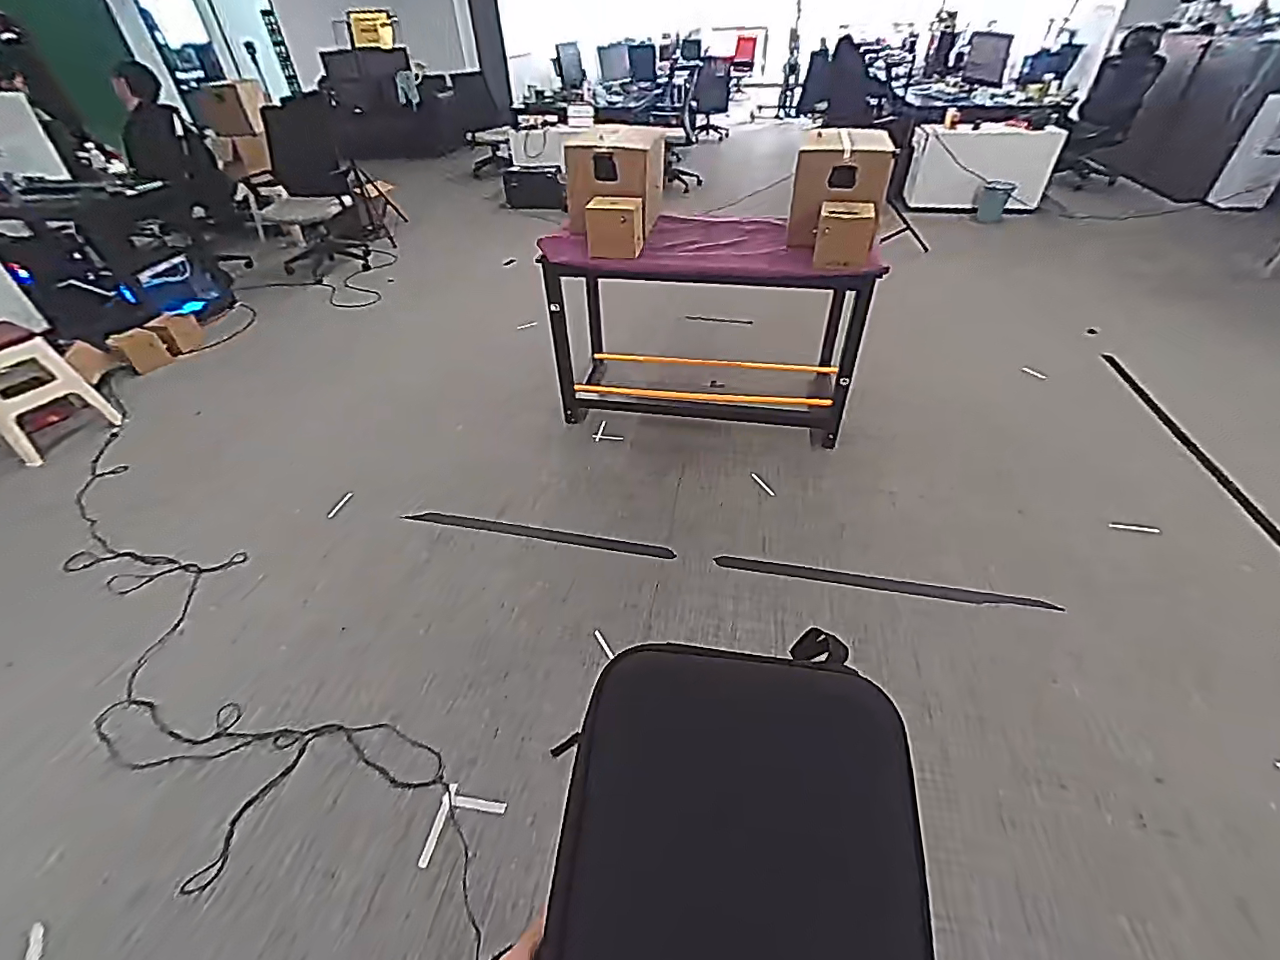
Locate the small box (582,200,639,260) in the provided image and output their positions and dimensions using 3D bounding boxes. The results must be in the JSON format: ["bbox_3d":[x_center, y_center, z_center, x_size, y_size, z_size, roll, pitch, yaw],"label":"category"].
[{"bbox_3d":[-0.103,-0.907,1.961,0.179,0.176,0.168,5,40,7],"label":"small box"}]

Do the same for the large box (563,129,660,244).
[{"bbox_3d":[-0.100,-1.184,2.174,0.320,0.320,0.408,6,44,8],"label":"large box"}]
